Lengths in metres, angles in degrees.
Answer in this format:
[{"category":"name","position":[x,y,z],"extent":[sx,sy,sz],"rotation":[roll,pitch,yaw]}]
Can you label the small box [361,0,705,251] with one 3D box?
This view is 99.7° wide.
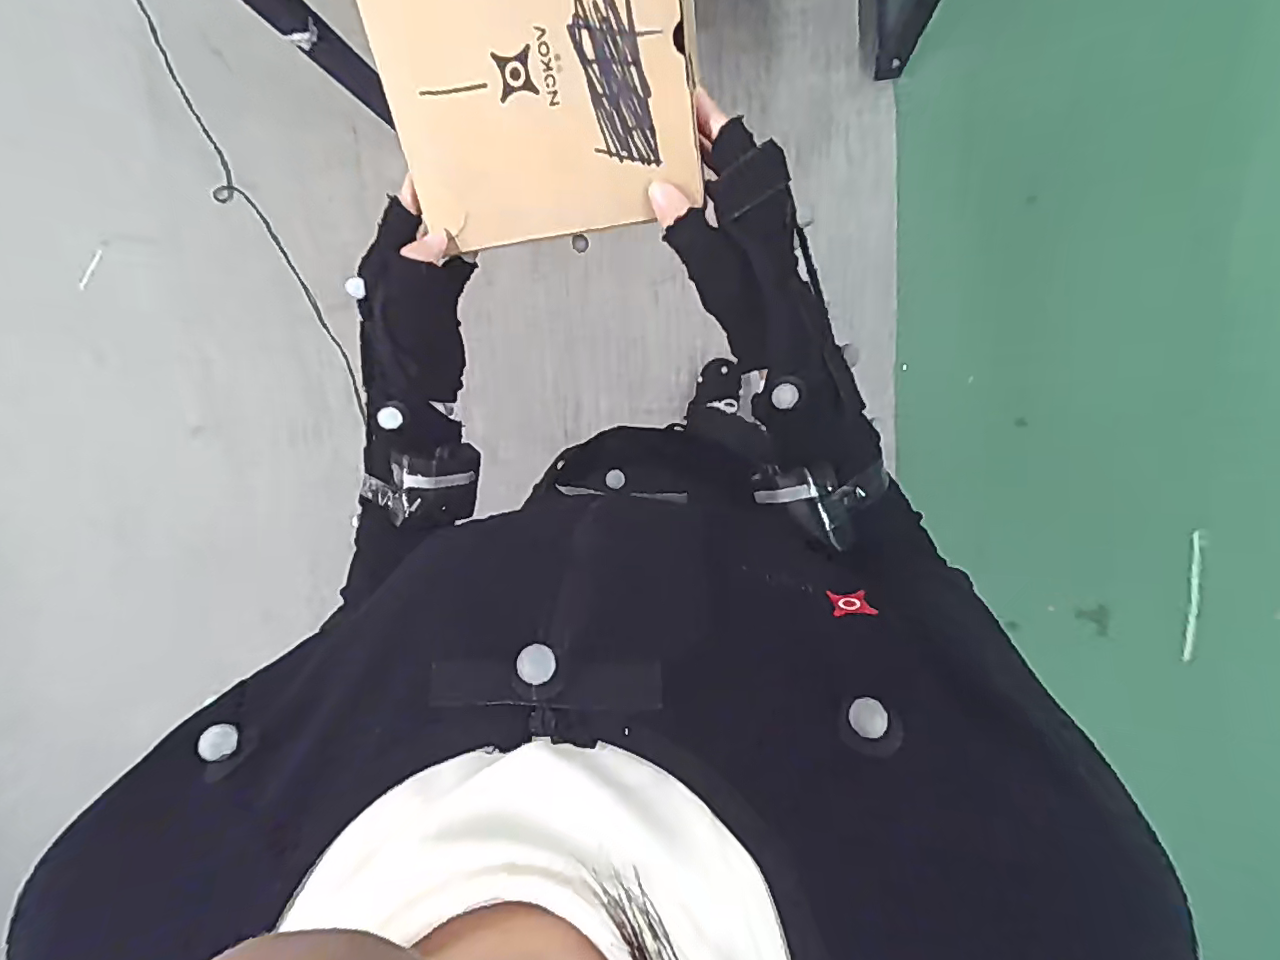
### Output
[{"category":"small box","position":[-0.049,-0.265,0.367],"extent":[0.179,0.176,0.168],"rotation":[-4,119,11]}]
